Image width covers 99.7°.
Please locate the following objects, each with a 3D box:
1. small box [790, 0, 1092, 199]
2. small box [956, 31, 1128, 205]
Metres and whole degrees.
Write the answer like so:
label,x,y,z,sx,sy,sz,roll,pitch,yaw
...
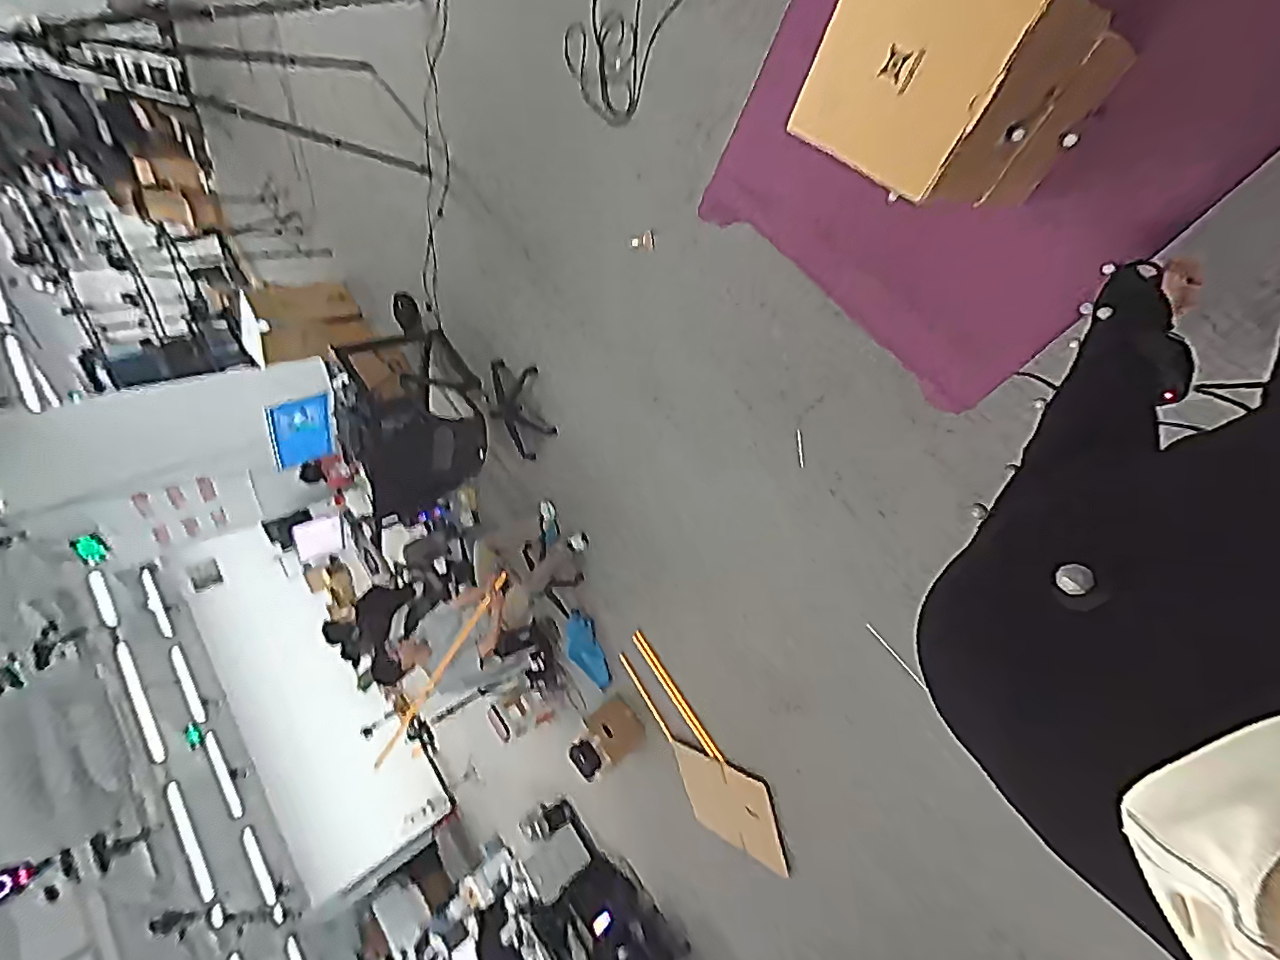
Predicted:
label,x,y,z,sx,sy,sz,roll,pitch,yaw
small box,0.296,-0.401,0.544,0.179,0.176,0.168,46,138,24
small box,0.416,-0.448,0.643,0.179,0.176,0.168,49,140,22
